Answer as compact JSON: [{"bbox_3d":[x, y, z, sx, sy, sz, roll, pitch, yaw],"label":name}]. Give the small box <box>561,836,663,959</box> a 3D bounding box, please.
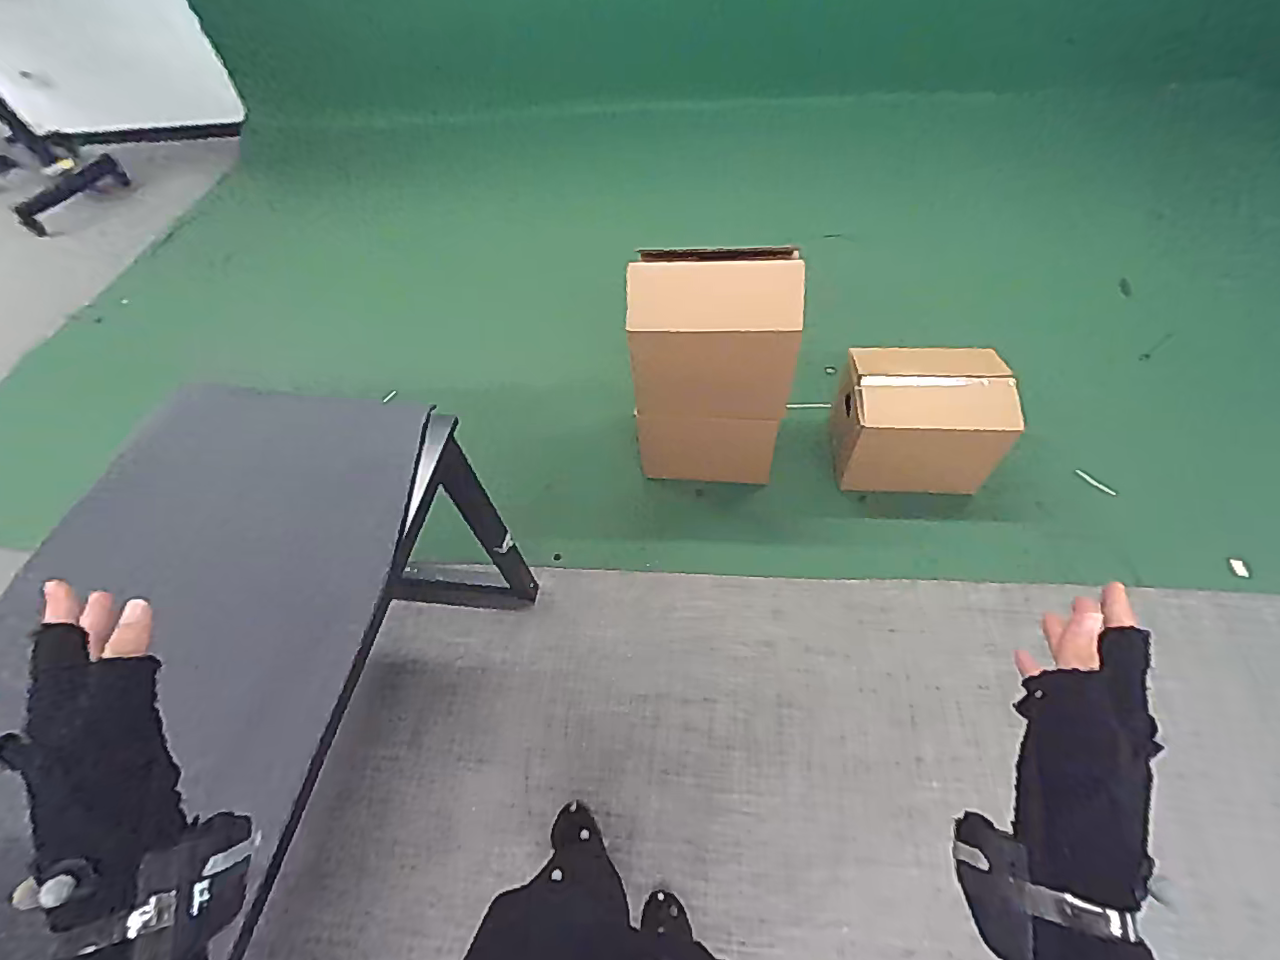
[{"bbox_3d":[-0.061,0.848,1.108,0.168,0.176,0.179,13,58,-13],"label":"small box"}]
